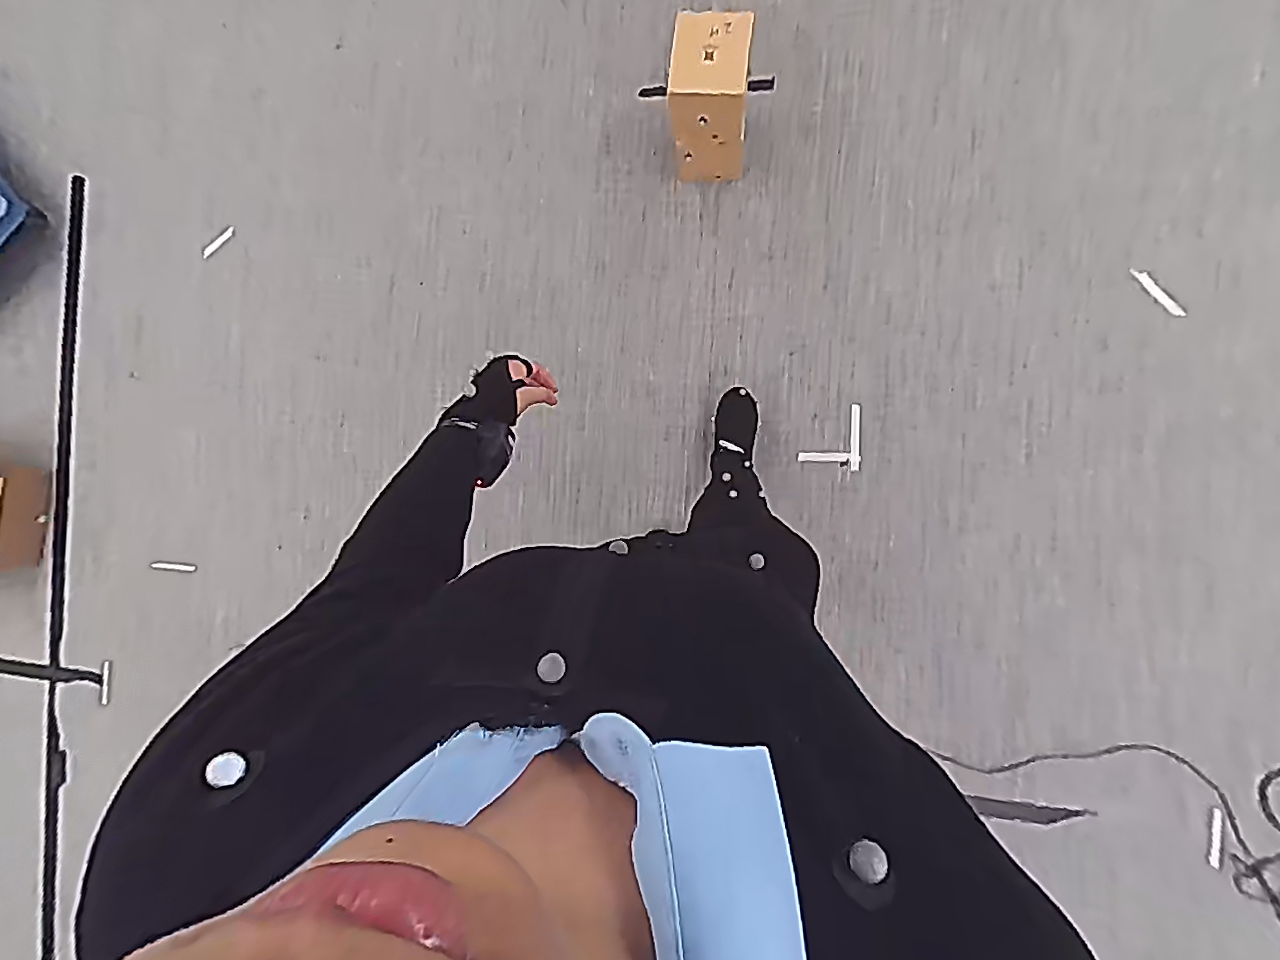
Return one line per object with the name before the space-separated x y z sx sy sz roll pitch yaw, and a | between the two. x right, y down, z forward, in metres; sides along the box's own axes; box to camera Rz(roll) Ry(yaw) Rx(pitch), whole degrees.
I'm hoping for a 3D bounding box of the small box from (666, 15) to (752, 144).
small box | 0.157 -0.896 1.222 0.168 0.176 0.179 8 90 7
